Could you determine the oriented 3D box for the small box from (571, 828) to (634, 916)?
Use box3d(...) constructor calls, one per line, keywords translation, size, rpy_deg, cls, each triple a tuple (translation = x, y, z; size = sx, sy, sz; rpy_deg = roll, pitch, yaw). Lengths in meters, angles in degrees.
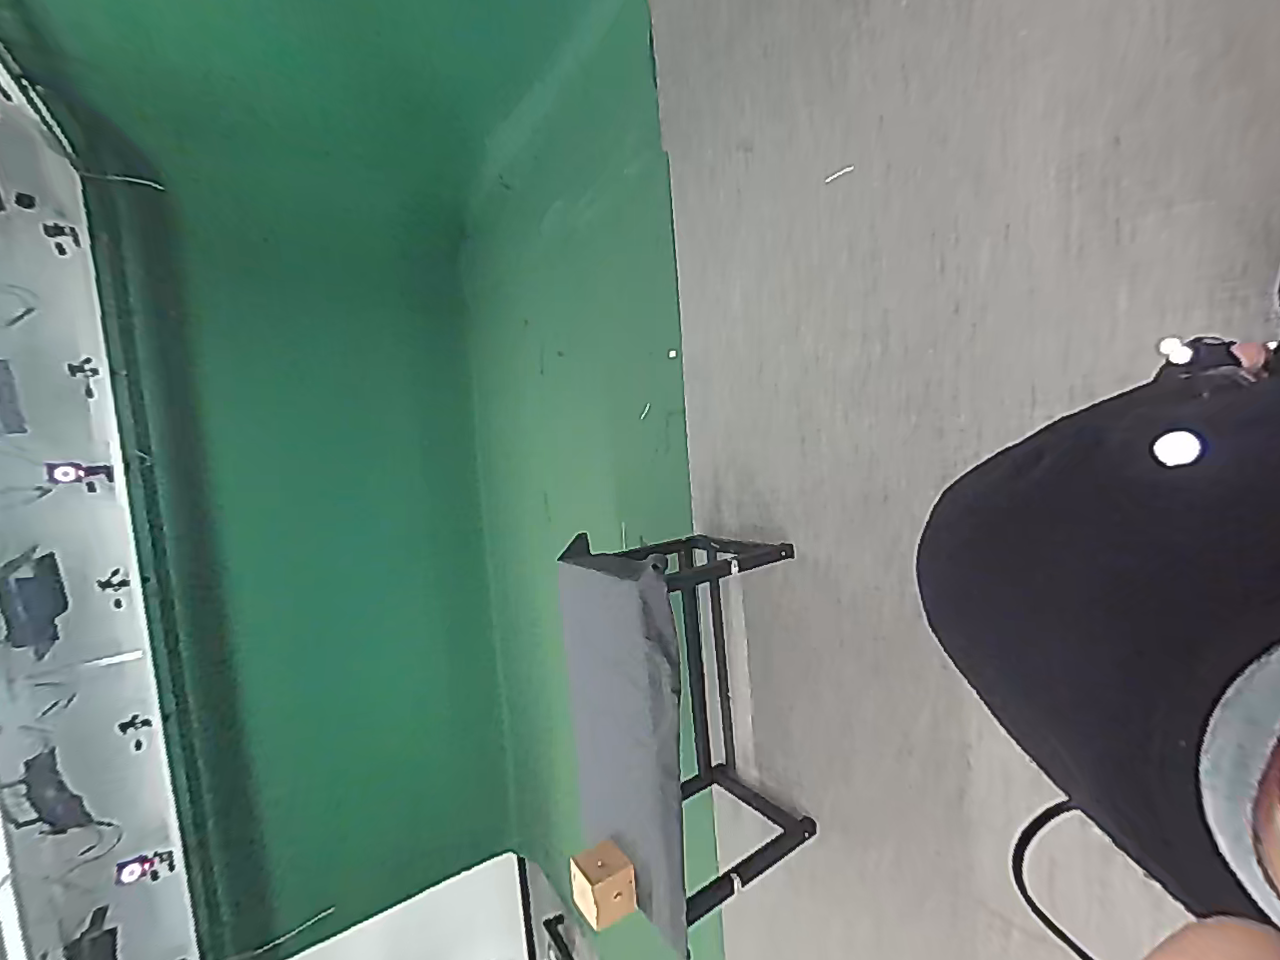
box3d(translation=(-0.131, 1.417, 1.972), size=(0.179, 0.176, 0.168), rpy_deg=(0, 96, 55), cls="small box")
